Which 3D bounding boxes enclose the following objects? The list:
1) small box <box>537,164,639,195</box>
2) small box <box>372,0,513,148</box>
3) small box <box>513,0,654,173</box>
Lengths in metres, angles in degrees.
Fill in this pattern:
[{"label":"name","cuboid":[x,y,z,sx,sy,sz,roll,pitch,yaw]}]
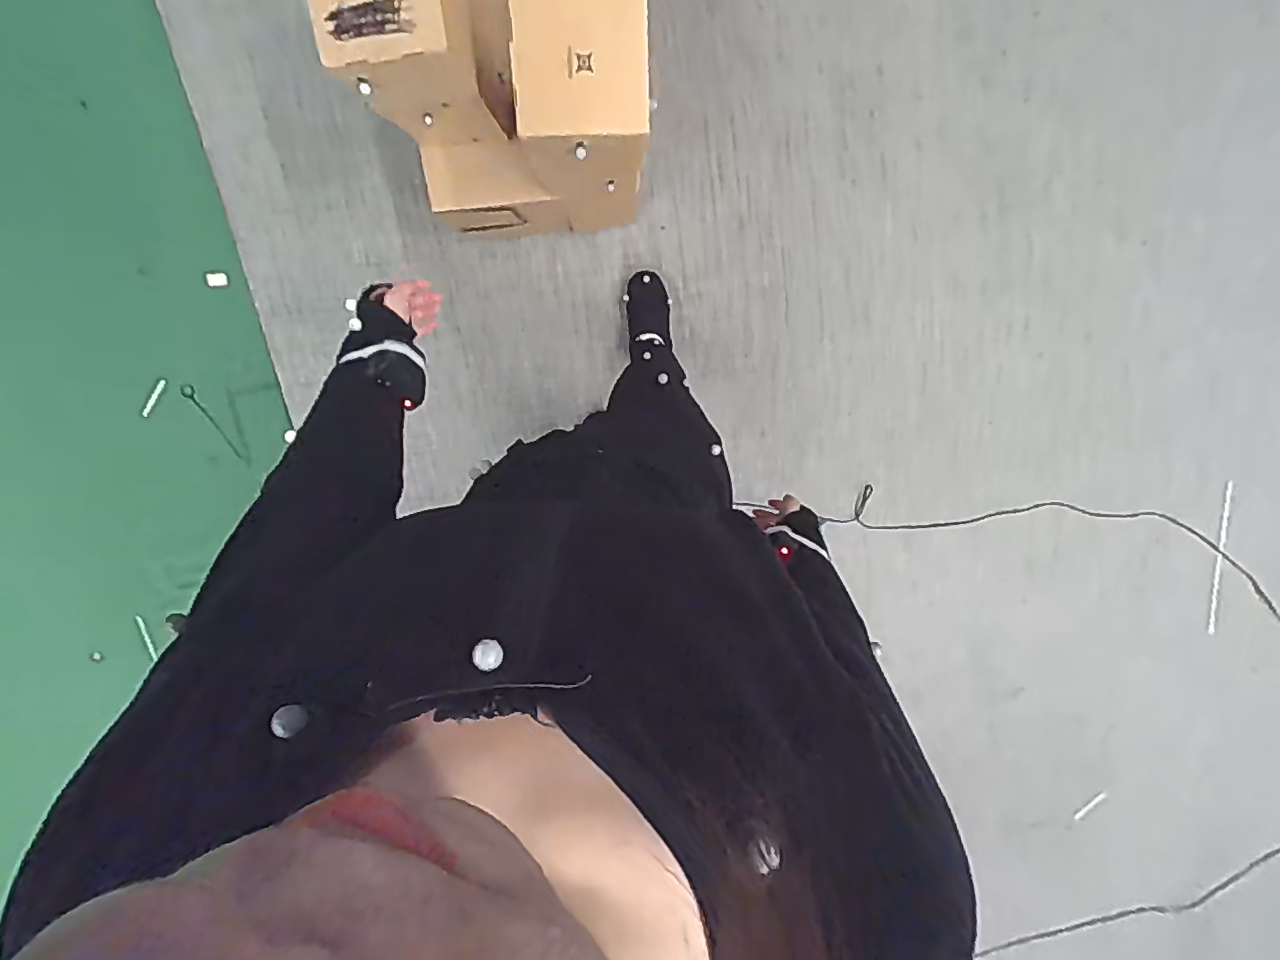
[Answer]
[{"label":"small box","cuboid":[-0.084,-0.596,0.918,0.168,0.176,0.179,-2,104,-1]},{"label":"small box","cuboid":[-0.317,-0.680,0.896,0.168,0.176,0.179,-2,104,2]},{"label":"small box","cuboid":[-0.072,-0.547,0.763,0.179,0.176,0.168,-1,105,0]}]
